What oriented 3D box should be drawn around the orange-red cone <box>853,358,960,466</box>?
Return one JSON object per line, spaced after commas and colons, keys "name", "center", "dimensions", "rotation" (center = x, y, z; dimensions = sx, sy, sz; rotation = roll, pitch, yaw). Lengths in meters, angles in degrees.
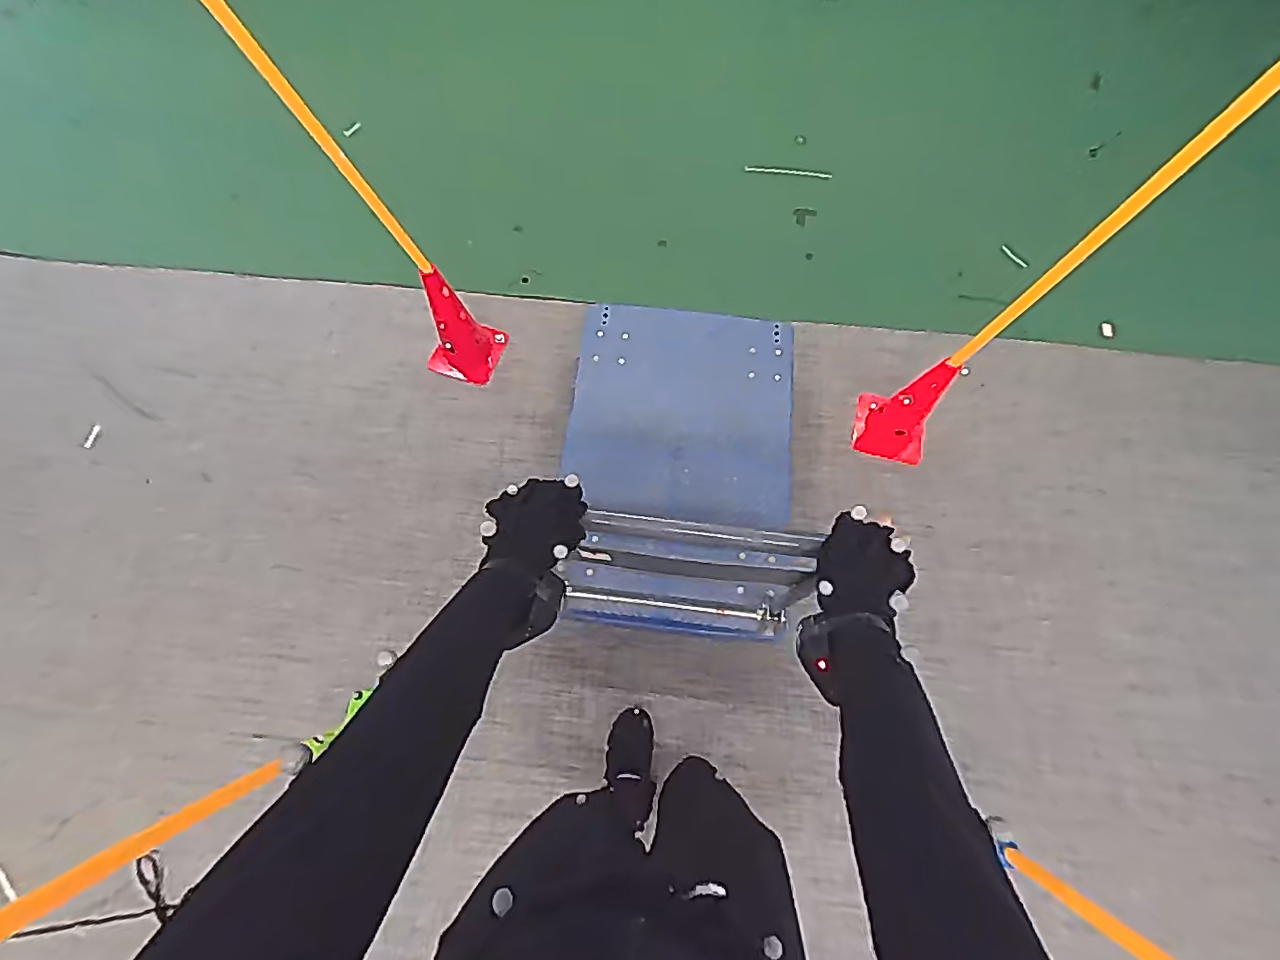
{"name": "orange-red cone", "center": [0.737, -0.207, 1.434], "dimensions": [0.198, 0.360, 0.199], "rotation": [15, 70, 6]}
